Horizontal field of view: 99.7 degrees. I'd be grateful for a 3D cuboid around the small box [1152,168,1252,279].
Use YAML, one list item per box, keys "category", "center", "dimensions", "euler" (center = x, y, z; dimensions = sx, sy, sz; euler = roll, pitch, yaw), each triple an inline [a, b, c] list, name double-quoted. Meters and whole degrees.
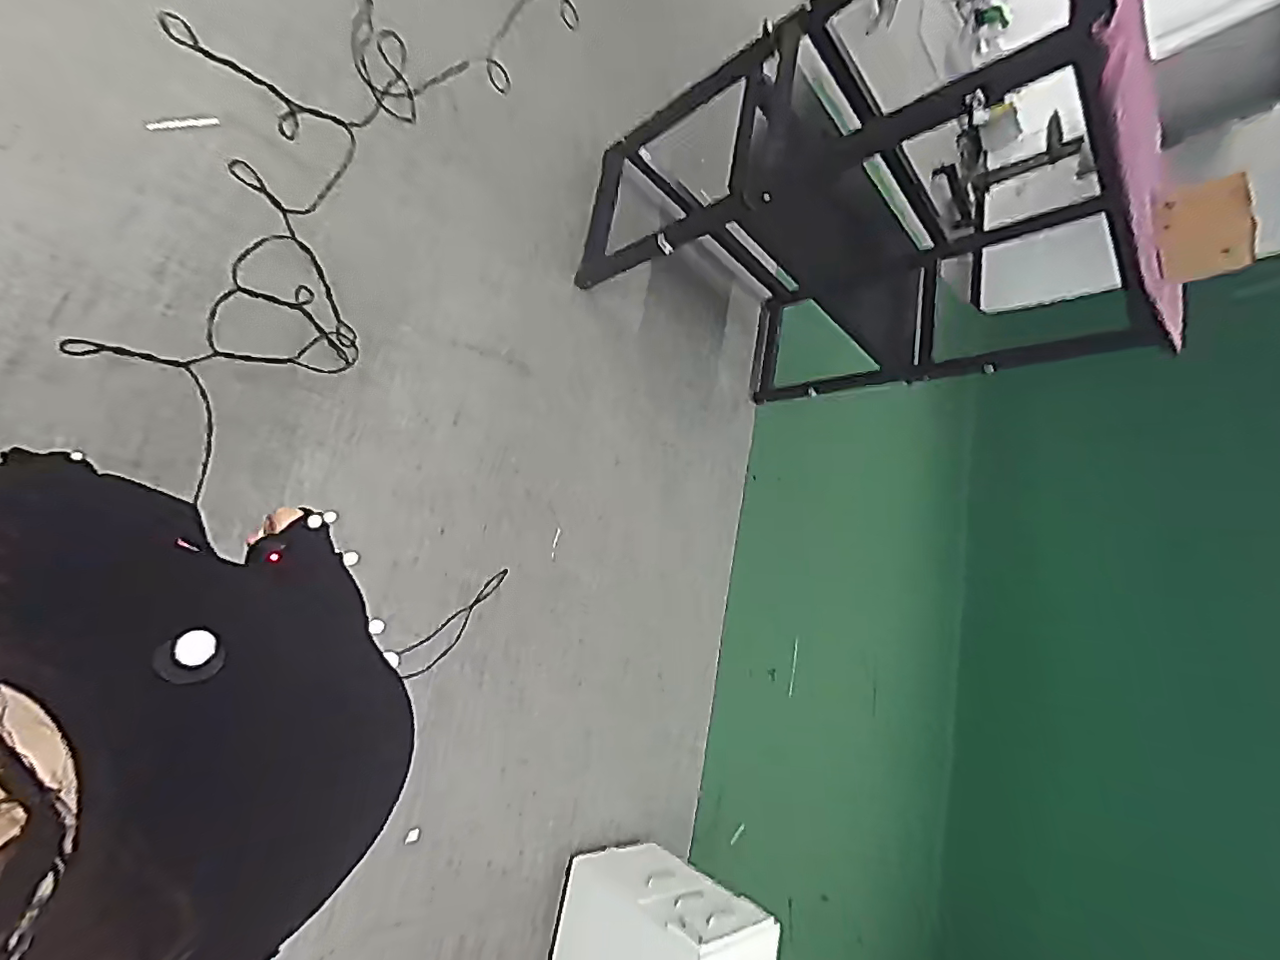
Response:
- category: "small box"
  center: [1.442, -0.648, 1.395]
  dimensions: [0.179, 0.176, 0.168]
  euler: [23, 72, -41]
